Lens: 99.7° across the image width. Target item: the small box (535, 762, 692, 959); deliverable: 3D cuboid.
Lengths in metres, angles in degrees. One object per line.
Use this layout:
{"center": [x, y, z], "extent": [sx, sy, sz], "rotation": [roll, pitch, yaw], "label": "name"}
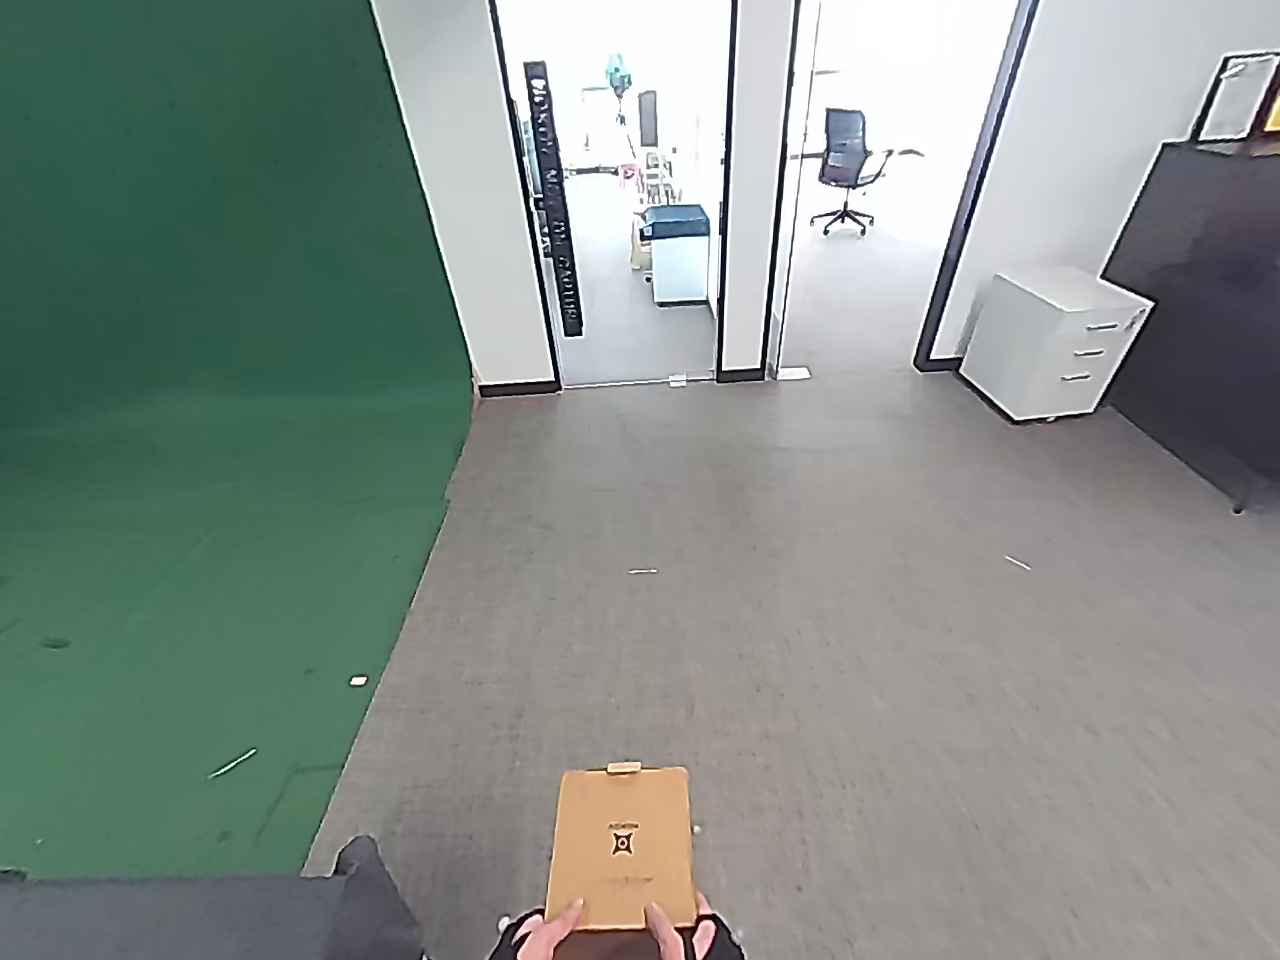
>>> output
{"center": [-0.021, 0.481, 0.671], "extent": [0.168, 0.176, 0.179], "rotation": [-3, 31, 4], "label": "small box"}
